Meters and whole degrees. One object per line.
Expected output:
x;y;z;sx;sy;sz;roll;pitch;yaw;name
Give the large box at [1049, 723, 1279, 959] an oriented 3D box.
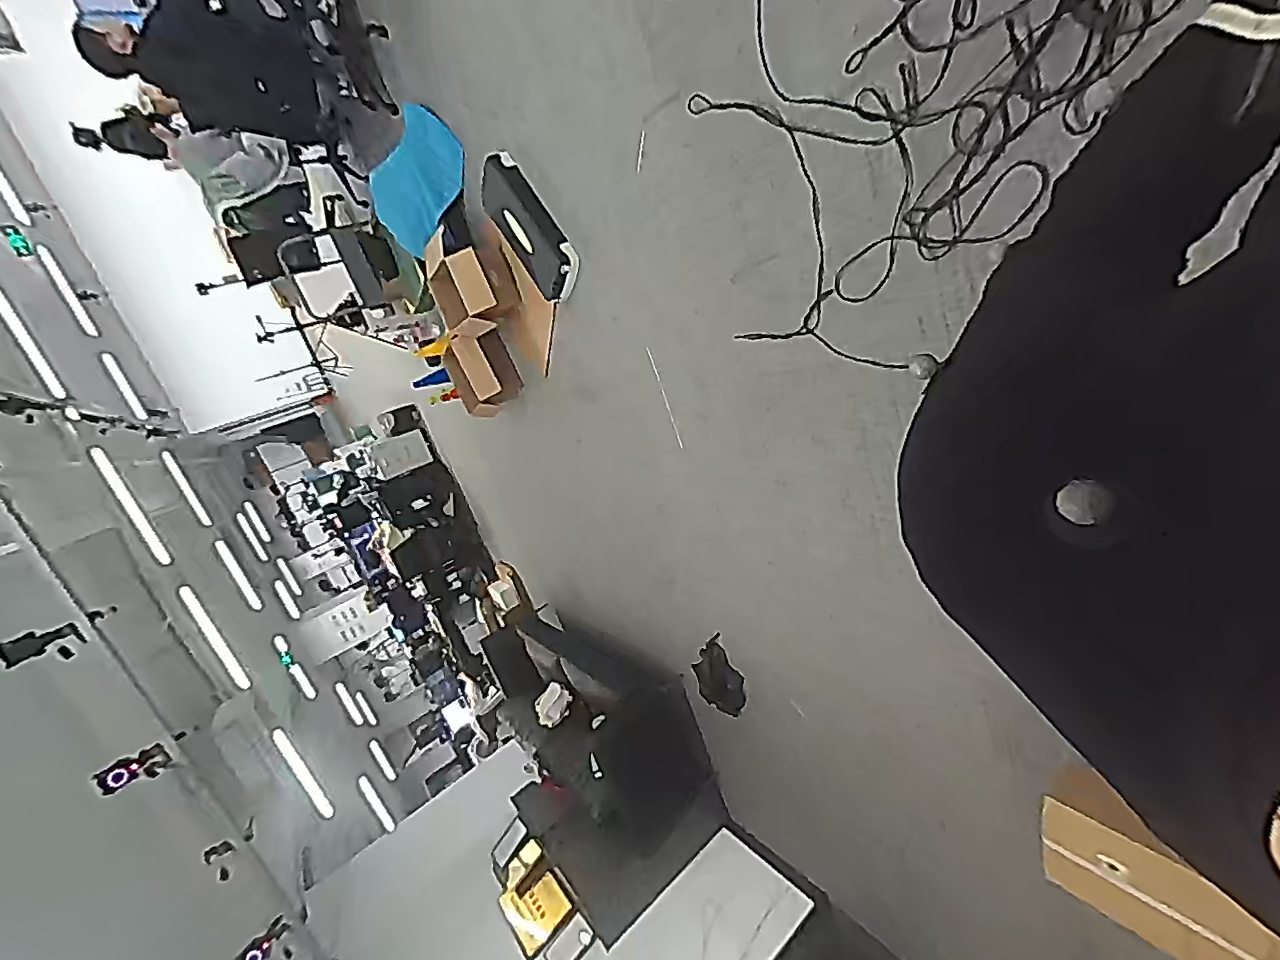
1.241;0.857;1.241;0.408;0.320;0.320;16;127;54;large box
